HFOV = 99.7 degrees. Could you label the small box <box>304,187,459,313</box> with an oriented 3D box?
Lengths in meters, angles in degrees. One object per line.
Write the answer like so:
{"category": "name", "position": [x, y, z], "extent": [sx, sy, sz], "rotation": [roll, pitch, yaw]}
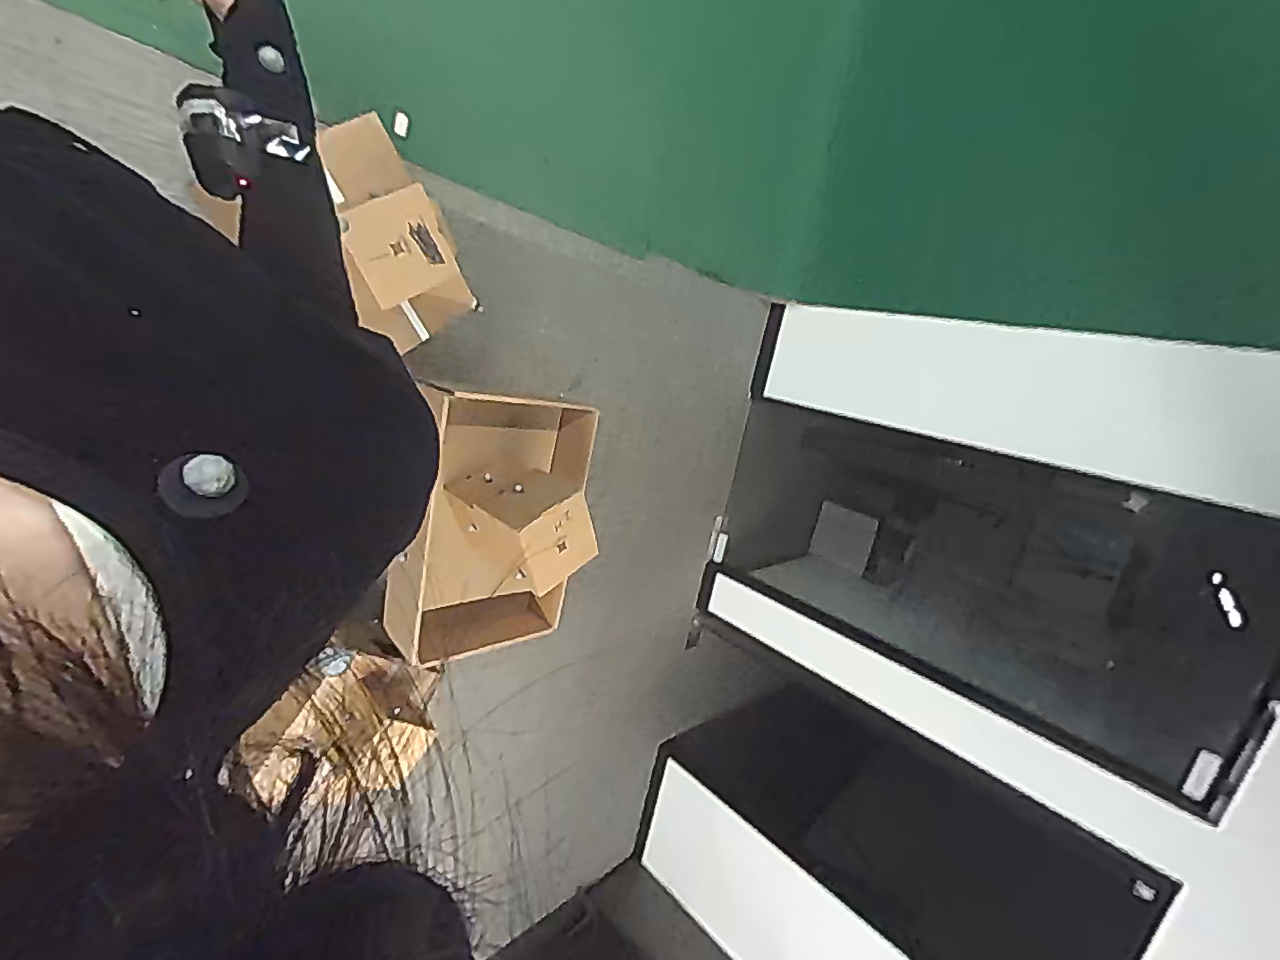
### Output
{"category": "small box", "position": [-0.481, -0.434, 1.011], "extent": [0.179, 0.176, 0.168], "rotation": [-41, 133, -27]}

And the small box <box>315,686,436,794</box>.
{"category": "small box", "position": [-0.653, 0.637, 1.334], "extent": [0.168, 0.176, 0.179], "rotation": [-54, 139, -14]}

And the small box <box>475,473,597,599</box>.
{"category": "small box", "position": [-0.217, 0.111, 1.139], "extent": [0.168, 0.176, 0.179], "rotation": [-34, 129, -33]}

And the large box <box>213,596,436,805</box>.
{"category": "large box", "position": [-0.851, 0.593, 1.476], "extent": [0.408, 0.320, 0.320], "rotation": [-56, 139, -10]}
